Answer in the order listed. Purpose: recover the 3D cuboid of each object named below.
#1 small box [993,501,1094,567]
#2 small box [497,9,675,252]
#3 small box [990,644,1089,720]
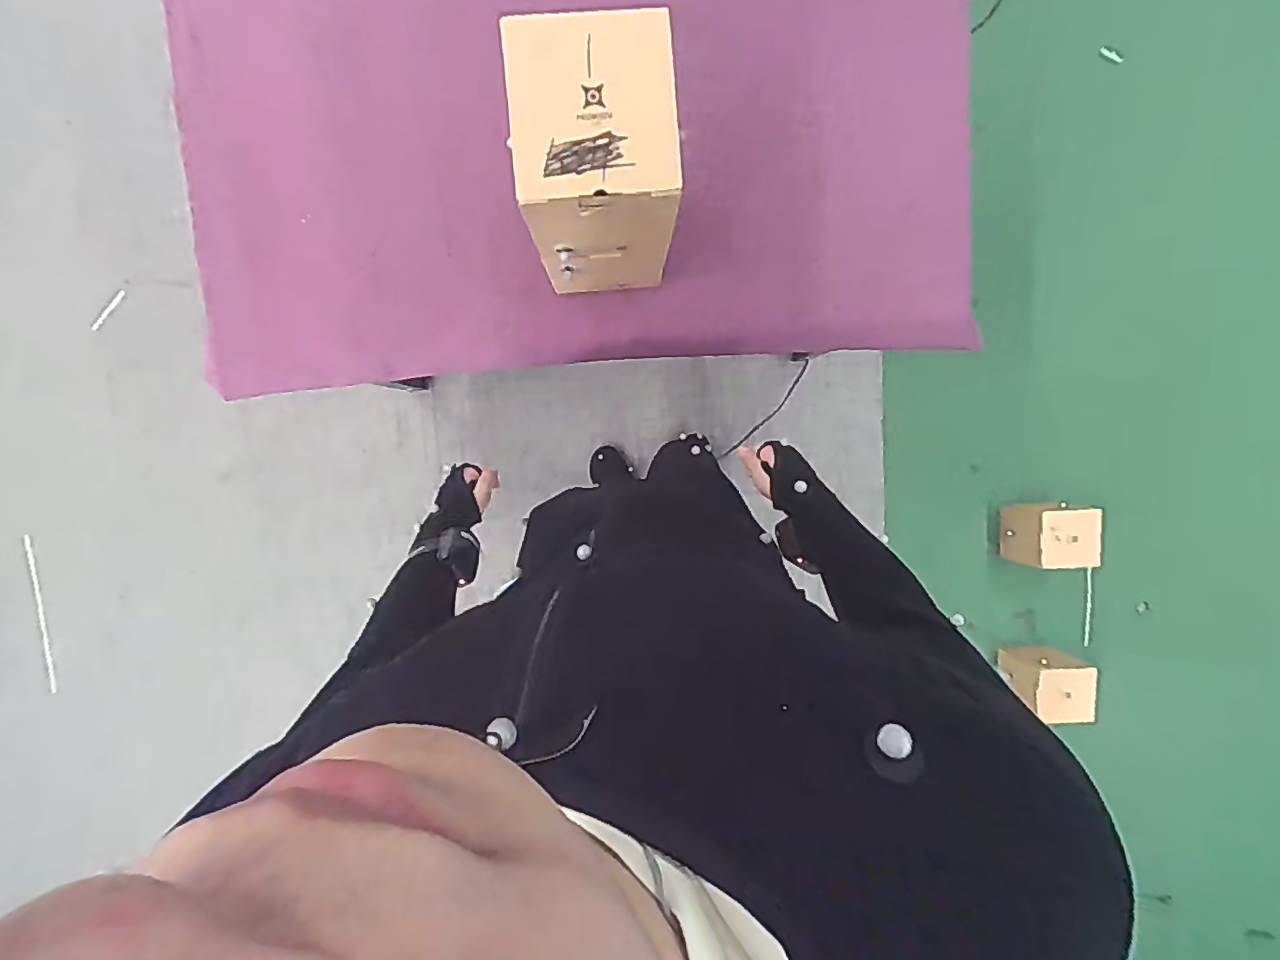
[{"bbox_3d":[1.192,0.155,1.606,0.179,0.176,0.168,-3,94,-3],"label":"small box"},{"bbox_3d":[-0.053,-0.369,0.606,0.168,0.176,0.179,-5,94,-2],"label":"small box"},{"bbox_3d":[1.212,0.609,1.649,0.179,0.176,0.168,-2,96,-2],"label":"small box"}]
